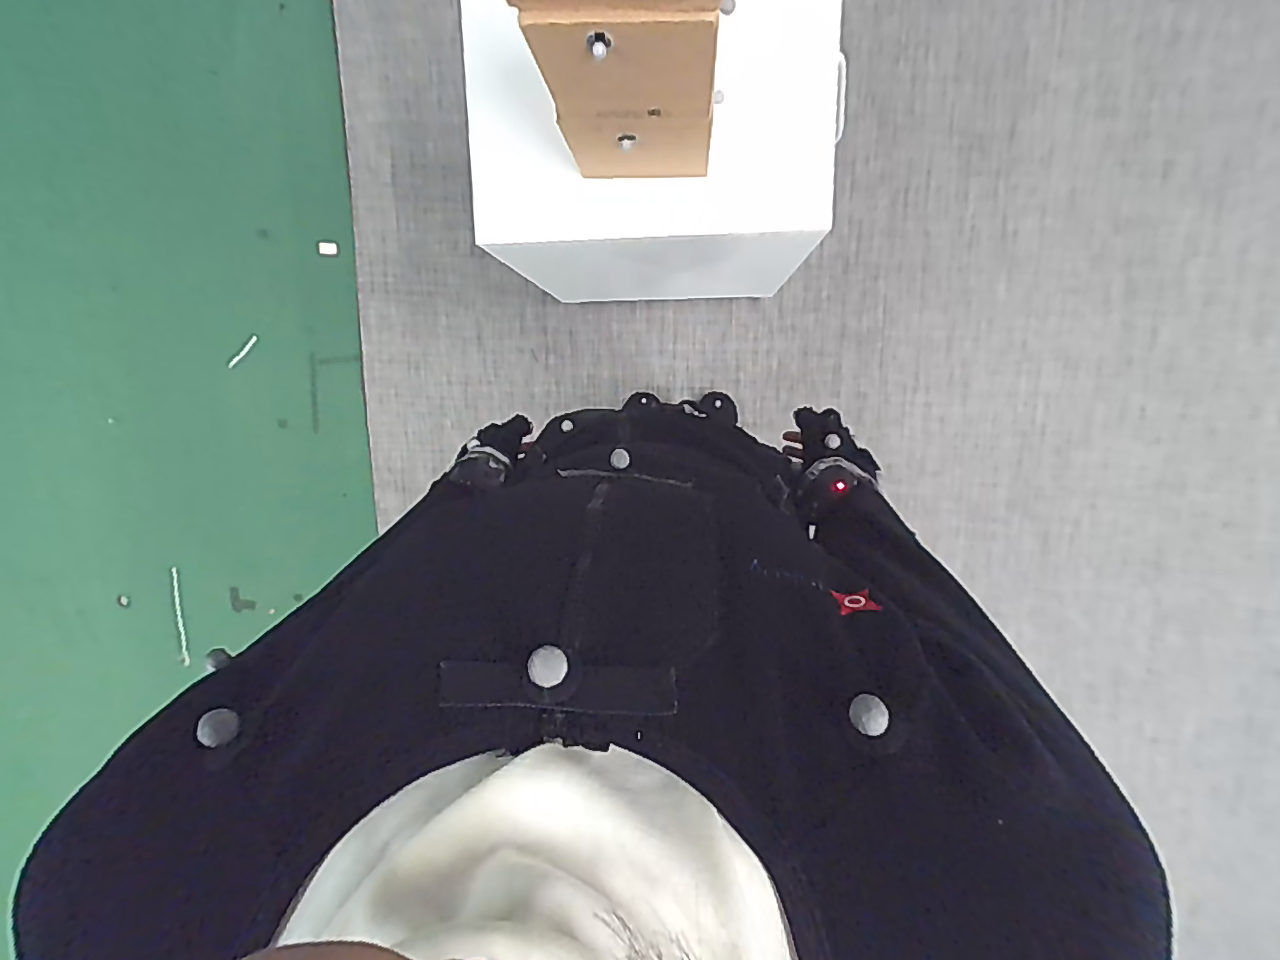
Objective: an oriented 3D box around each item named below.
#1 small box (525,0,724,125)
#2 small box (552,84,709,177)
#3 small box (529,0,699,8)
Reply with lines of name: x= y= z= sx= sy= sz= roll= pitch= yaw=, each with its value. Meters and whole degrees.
small box: x=-0.009 y=-0.470 z=0.508 sx=0.168 sy=0.176 sz=0.179 roll=0 pitch=100 yaw=4
small box: x=-0.002 y=-0.492 z=0.667 sx=0.179 sy=0.176 sz=0.168 roll=2 pitch=99 yaw=4
small box: x=-0.026 y=-0.447 z=0.345 sx=0.179 sy=0.176 sz=0.168 roll=4 pitch=101 yaw=3
